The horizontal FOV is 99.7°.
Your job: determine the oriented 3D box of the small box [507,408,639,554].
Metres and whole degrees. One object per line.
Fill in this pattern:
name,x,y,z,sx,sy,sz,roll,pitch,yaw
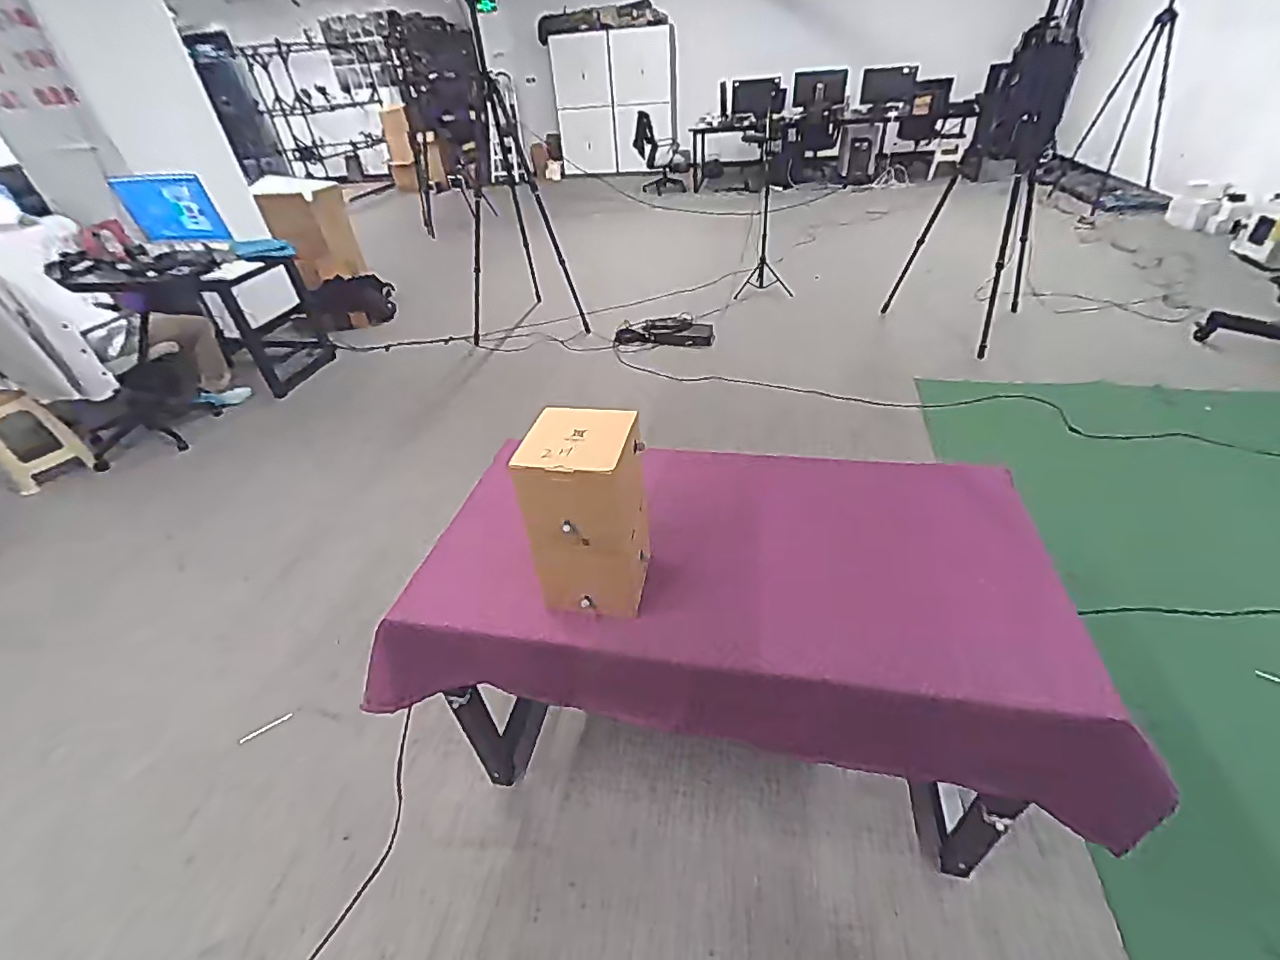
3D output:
small box,-0.099,-0.002,0.904,0.168,0.176,0.179,4,39,12

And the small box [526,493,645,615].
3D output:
small box,-0.089,0.131,1.002,0.179,0.176,0.168,4,38,10
